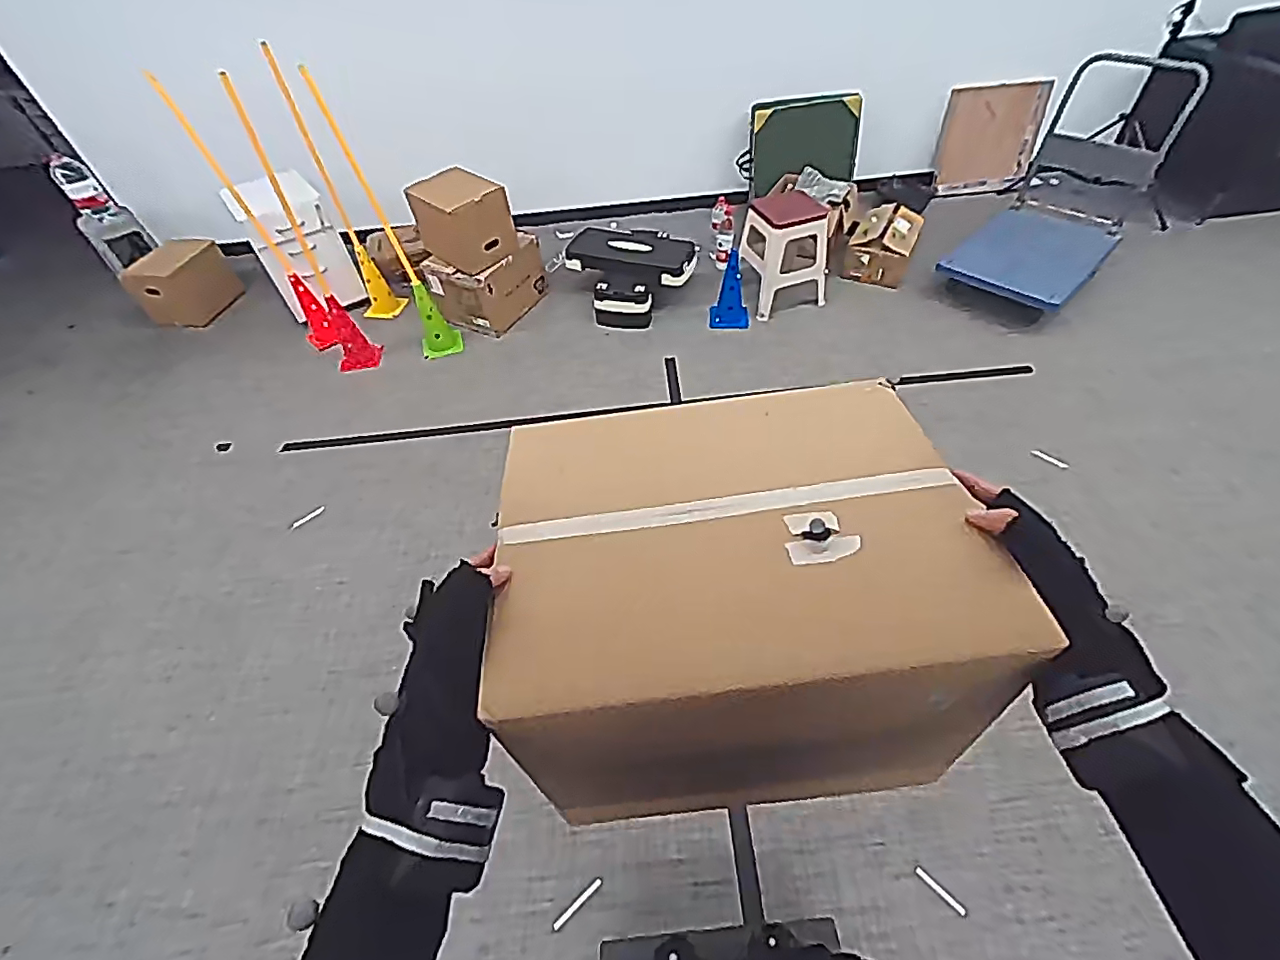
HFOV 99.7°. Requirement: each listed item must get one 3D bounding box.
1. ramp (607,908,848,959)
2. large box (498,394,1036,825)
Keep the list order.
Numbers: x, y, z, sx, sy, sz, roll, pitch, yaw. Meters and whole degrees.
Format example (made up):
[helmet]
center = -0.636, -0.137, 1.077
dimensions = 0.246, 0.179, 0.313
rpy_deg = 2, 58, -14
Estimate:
[ramp]
center = 0.221, 1.351, 0.888
dimensions = 0.509, 0.206, 0.991
rpy_deg = -7, 50, -2
[large box]
center = 0.092, 0.143, 0.597
dimensions = 0.408, 0.320, 0.320
rpy_deg = -8, 45, 1
